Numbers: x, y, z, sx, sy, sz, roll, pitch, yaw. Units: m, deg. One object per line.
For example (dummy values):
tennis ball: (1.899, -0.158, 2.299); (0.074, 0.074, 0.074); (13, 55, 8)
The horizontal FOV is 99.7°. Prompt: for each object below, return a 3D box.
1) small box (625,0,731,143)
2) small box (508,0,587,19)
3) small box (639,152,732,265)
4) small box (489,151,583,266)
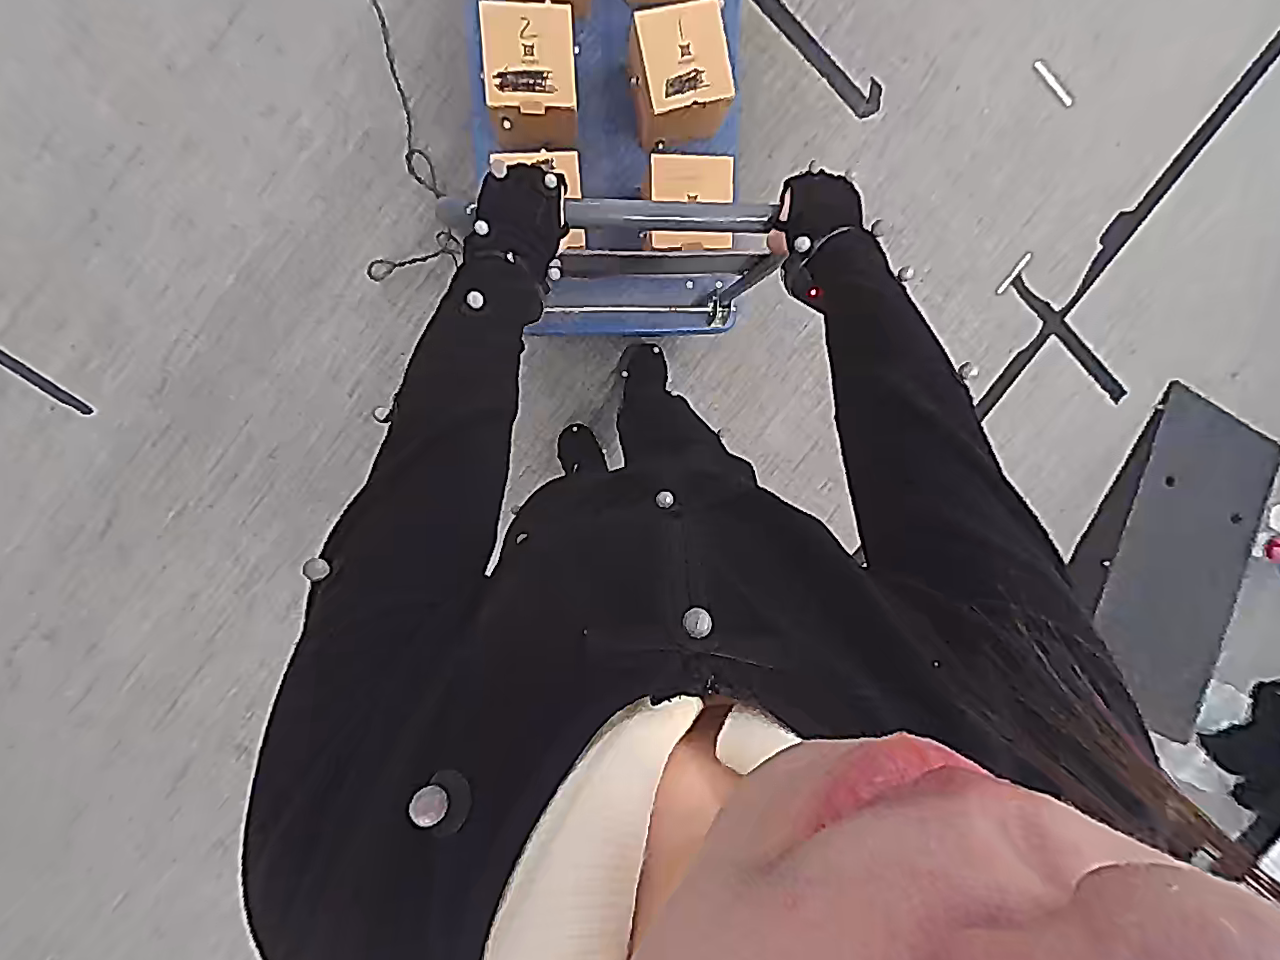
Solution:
small box: (0.071, -0.815, 1.097); (0.168, 0.176, 0.179); (-14, 100, -5)
small box: (-0.181, -1.036, 1.026); (0.168, 0.176, 0.179); (-1, 100, -7)
small box: (0.090, -0.562, 1.142); (0.168, 0.176, 0.179); (-2, 99, -8)
small box: (-0.205, -0.544, 1.104); (0.168, 0.176, 0.179); (-6, 100, -8)
